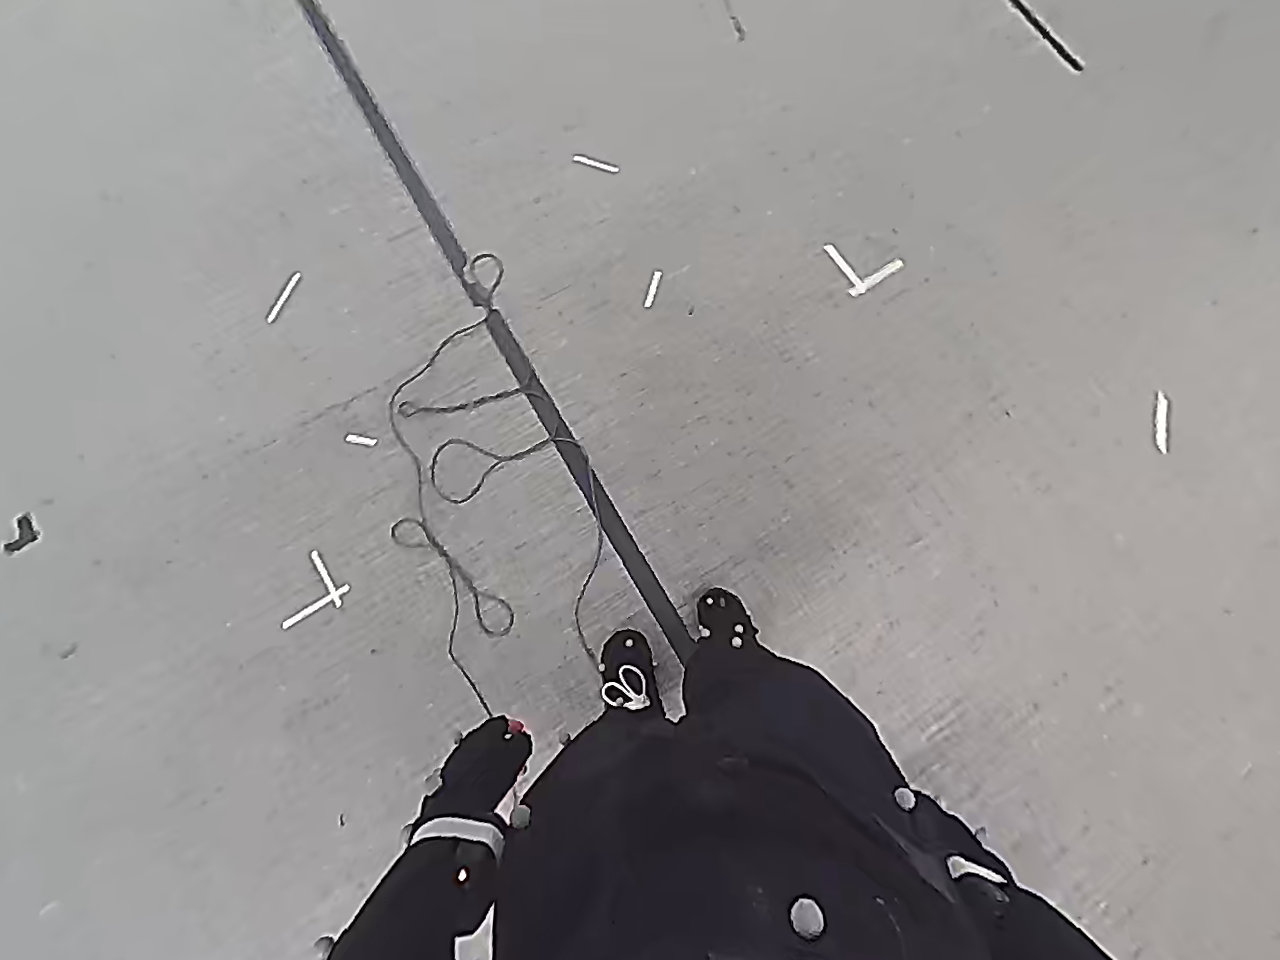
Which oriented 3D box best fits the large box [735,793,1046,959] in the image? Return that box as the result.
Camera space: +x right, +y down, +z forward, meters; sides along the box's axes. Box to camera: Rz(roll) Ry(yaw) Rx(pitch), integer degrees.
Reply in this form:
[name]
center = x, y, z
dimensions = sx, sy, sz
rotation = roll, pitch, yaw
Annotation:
[large box]
center = 0.438, 0.851, 0.951
dimensions = 0.408, 0.320, 0.320
rotation = -30, 81, -8
